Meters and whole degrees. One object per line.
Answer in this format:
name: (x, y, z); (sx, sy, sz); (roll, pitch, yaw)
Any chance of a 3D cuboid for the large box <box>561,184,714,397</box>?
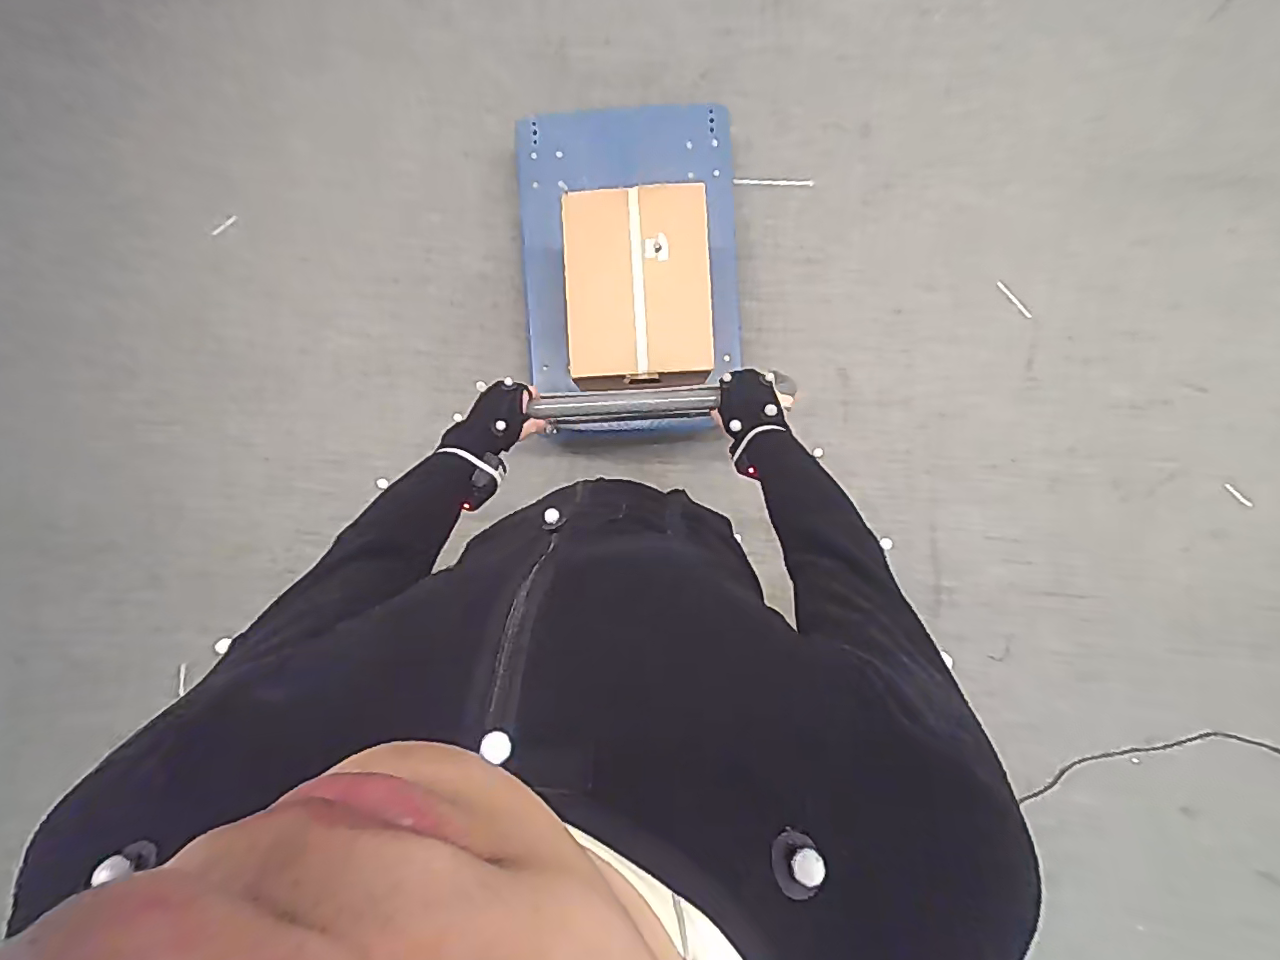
large box: (-0.001, -0.432, 1.320); (0.320, 0.320, 0.408); (-3, 90, 1)
